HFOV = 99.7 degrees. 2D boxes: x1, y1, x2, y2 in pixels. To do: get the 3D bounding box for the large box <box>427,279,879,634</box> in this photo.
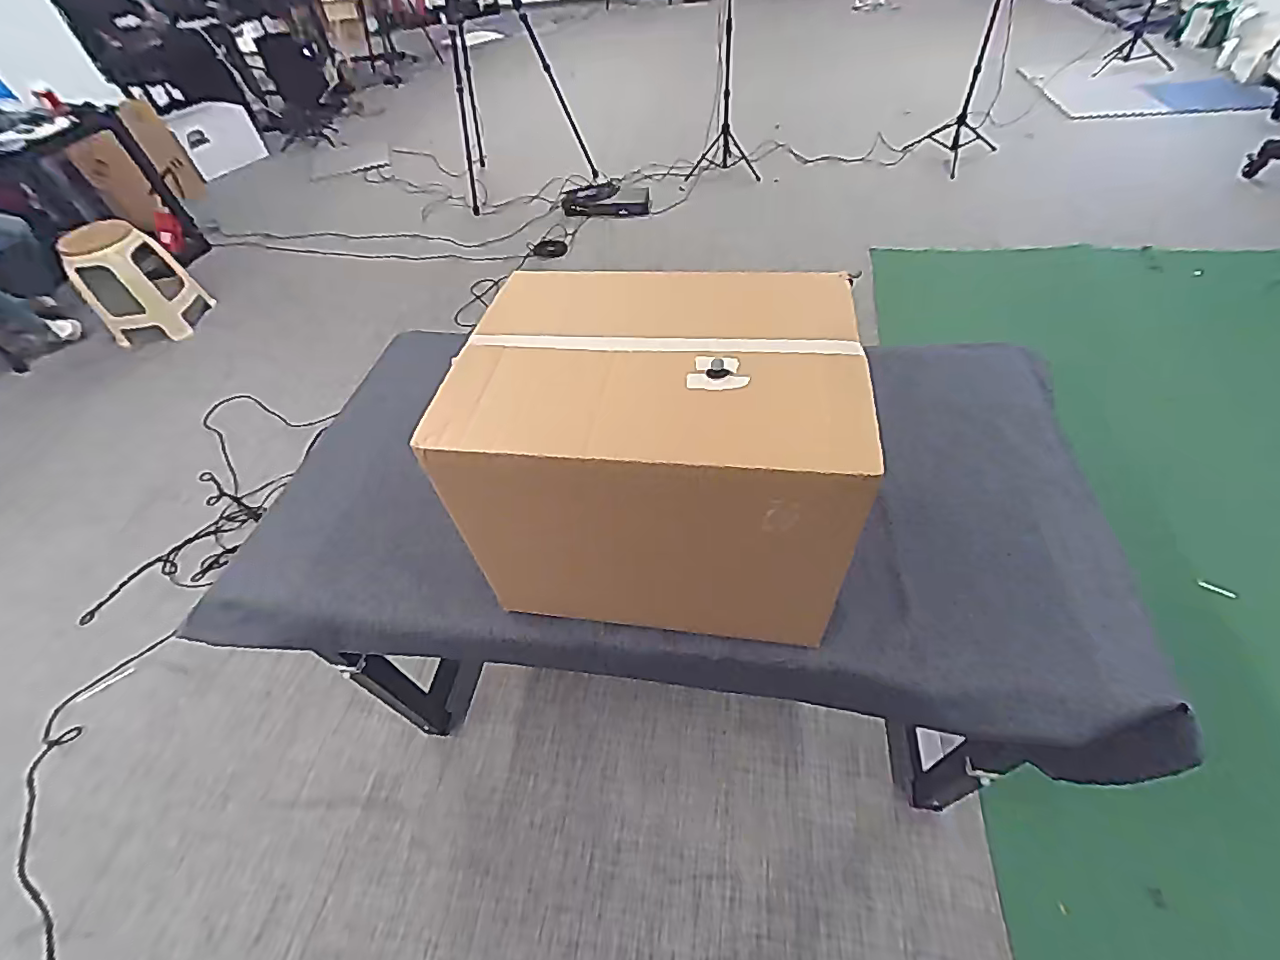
[{"bbox_3d":[0.028,-0.033,0.671,0.408,0.320,0.320,4,49,9],"label":"large box"}]
